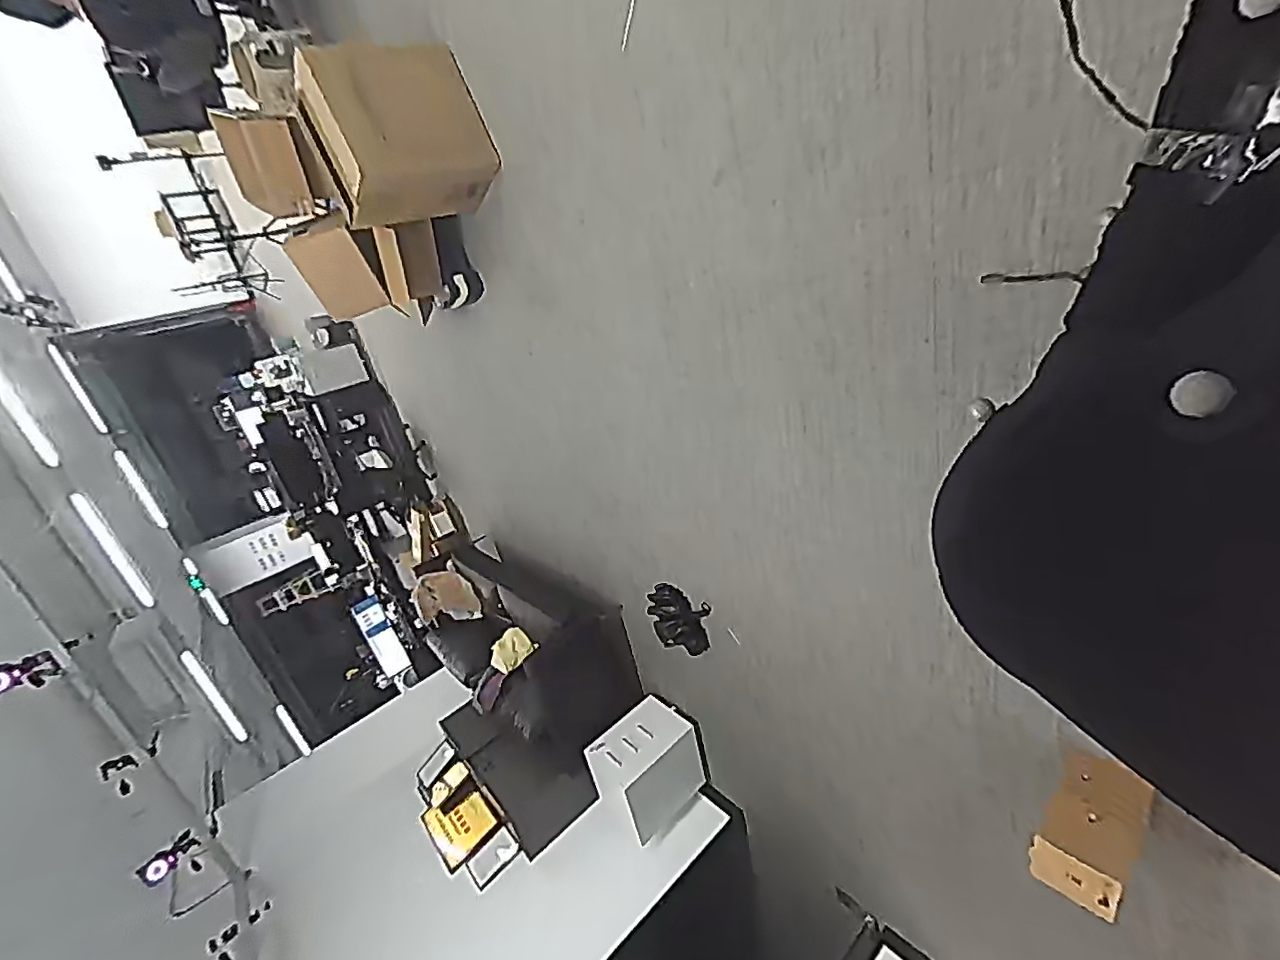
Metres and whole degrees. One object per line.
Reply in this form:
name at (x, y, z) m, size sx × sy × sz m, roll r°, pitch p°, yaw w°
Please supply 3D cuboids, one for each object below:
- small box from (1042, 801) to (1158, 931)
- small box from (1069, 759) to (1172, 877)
small box at (1.148, 0.949, 1.353) m, size 0.179 × 0.176 × 0.168 m, roll 17°, pitch 128°, yaw 48°
small box at (1.272, 0.884, 1.439) m, size 0.179 × 0.176 × 0.168 m, roll 13°, pitch 125°, yaw 48°
